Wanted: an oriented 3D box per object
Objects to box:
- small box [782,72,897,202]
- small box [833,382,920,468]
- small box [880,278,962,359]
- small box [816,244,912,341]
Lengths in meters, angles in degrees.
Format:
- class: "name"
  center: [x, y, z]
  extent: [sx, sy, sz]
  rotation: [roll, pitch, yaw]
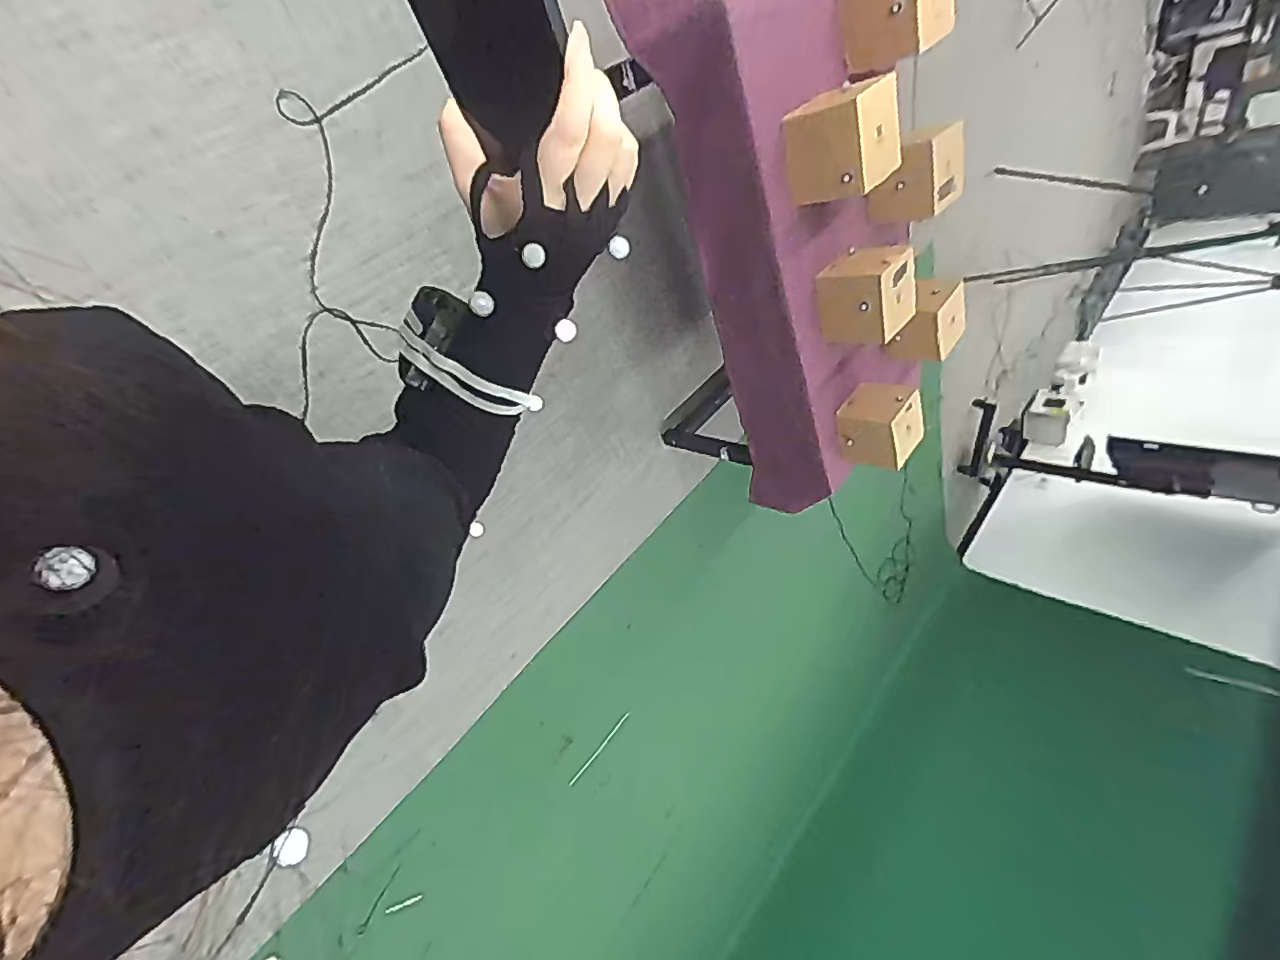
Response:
- class: "small box"
  center: [0.418, -0.714, 1.139]
  extent: [0.168, 0.176, 0.179]
  rotation: [-44, 130, -25]
- class: "small box"
  center: [0.683, -0.165, 1.563]
  extent: [0.168, 0.176, 0.179]
  rotation: [-46, 130, -24]
- class: "small box"
  center: [0.824, -0.478, 1.595]
  extent: [0.179, 0.176, 0.168]
  rotation: [-46, 129, -22]
- class: "small box"
  center: [0.556, -0.464, 1.348]
  extent: [0.168, 0.176, 0.179]
  rotation: [-42, 129, -26]
